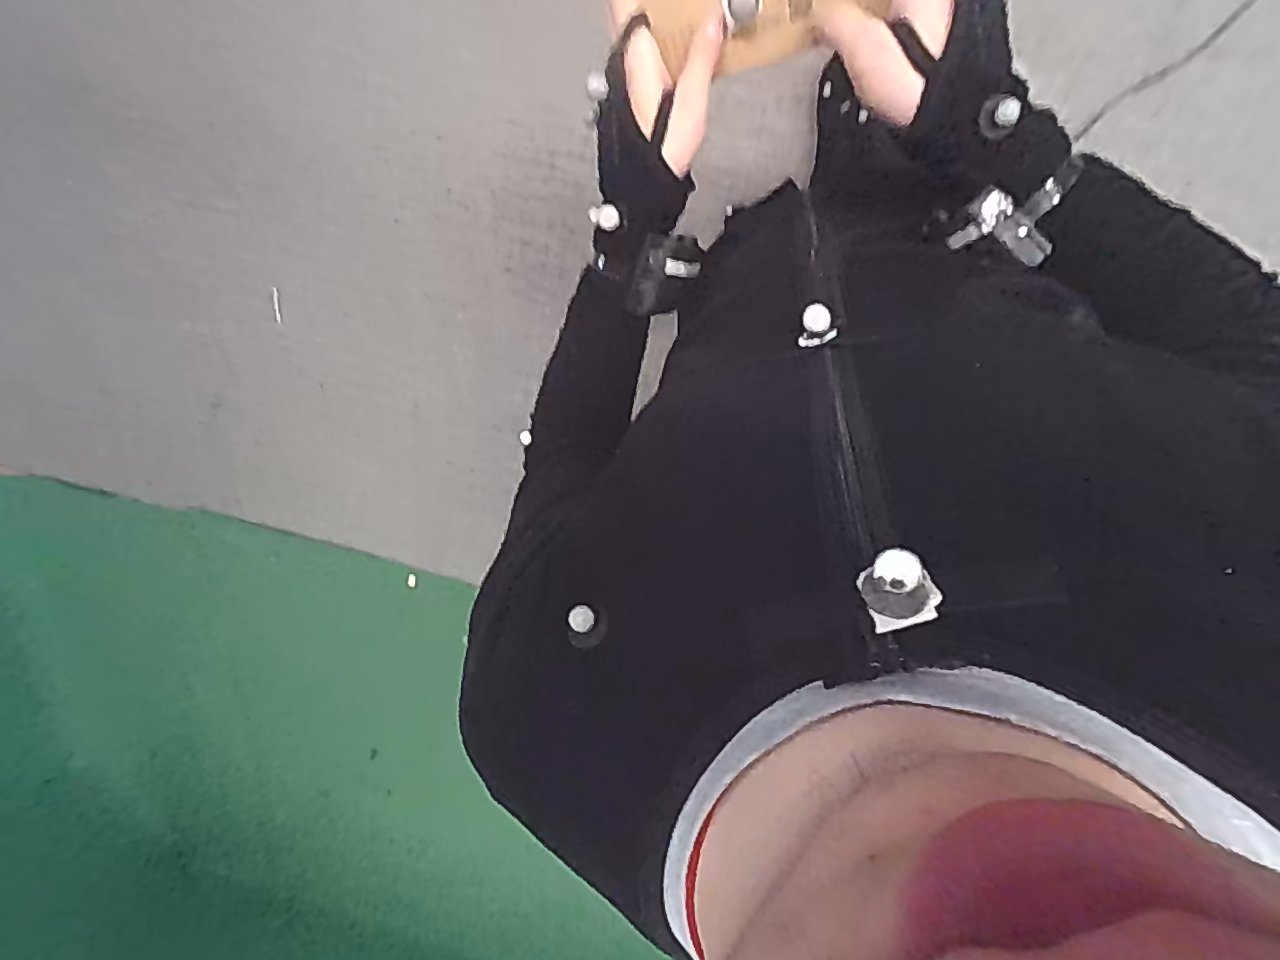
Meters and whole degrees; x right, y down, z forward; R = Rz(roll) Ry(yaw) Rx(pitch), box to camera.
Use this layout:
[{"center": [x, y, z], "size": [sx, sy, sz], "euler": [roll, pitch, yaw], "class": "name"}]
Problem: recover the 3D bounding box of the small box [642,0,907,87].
[{"center": [0.083, -0.397, 0.360], "size": [0.168, 0.179, 0.176], "euler": [-4, 137, 22], "class": "small box"}]
